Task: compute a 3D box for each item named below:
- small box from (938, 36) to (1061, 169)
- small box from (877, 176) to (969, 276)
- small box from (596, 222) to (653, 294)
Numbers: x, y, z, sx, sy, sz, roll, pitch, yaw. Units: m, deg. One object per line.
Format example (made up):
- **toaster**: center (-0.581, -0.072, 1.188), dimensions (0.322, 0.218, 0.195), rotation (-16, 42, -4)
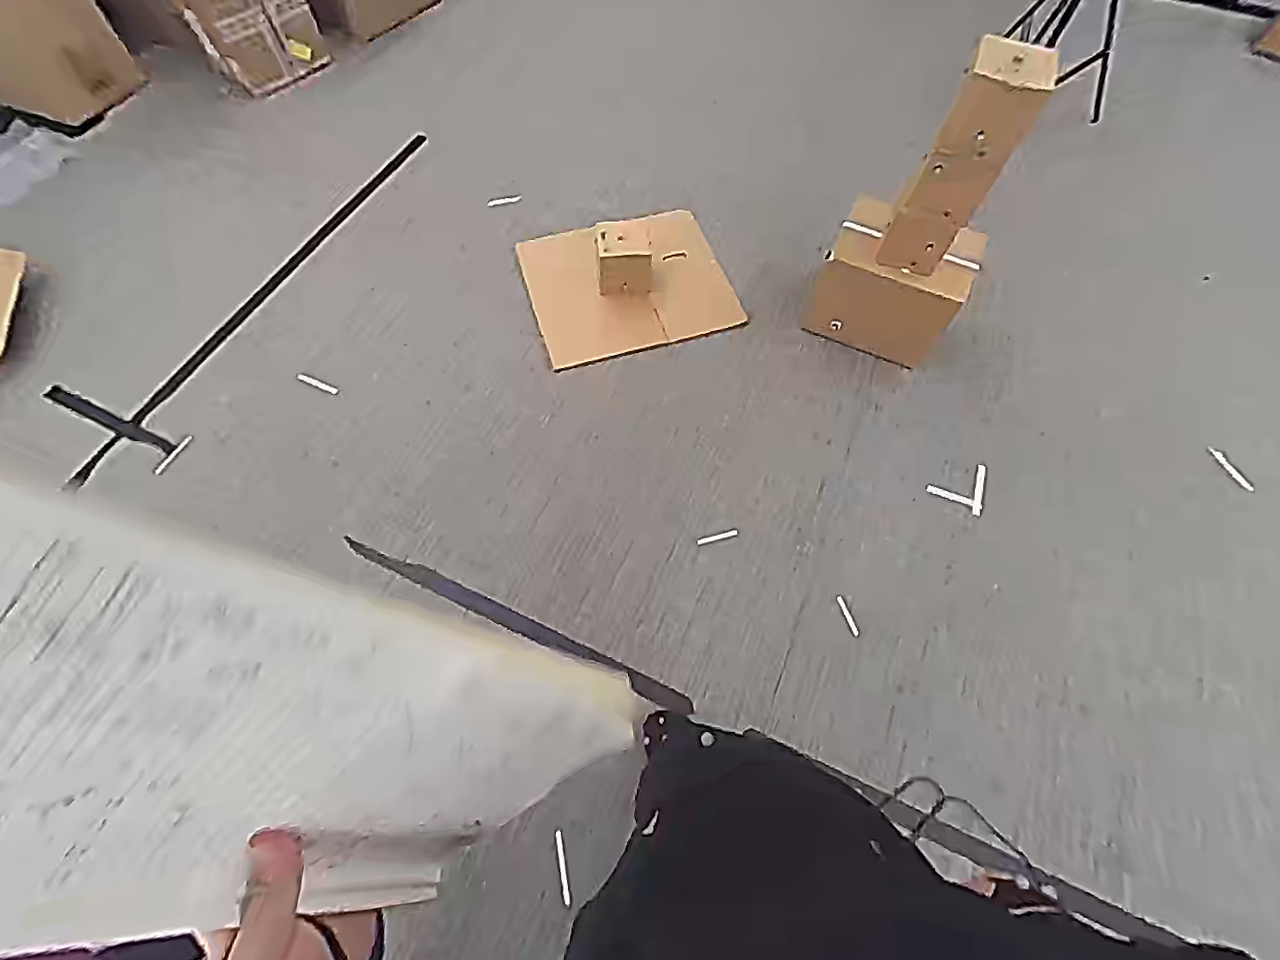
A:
- **small box**: center (0.807, -0.851, 1.225), dimensions (0.168, 0.176, 0.179), rotation (22, 66, 9)
- **small box**: center (0.790, -0.710, 1.522), dimensions (0.168, 0.176, 0.179), rotation (20, 65, 7)
- **small box**: center (-0.058, -0.760, 1.861), dimensions (0.179, 0.176, 0.168), rotation (-4, 64, -6)
